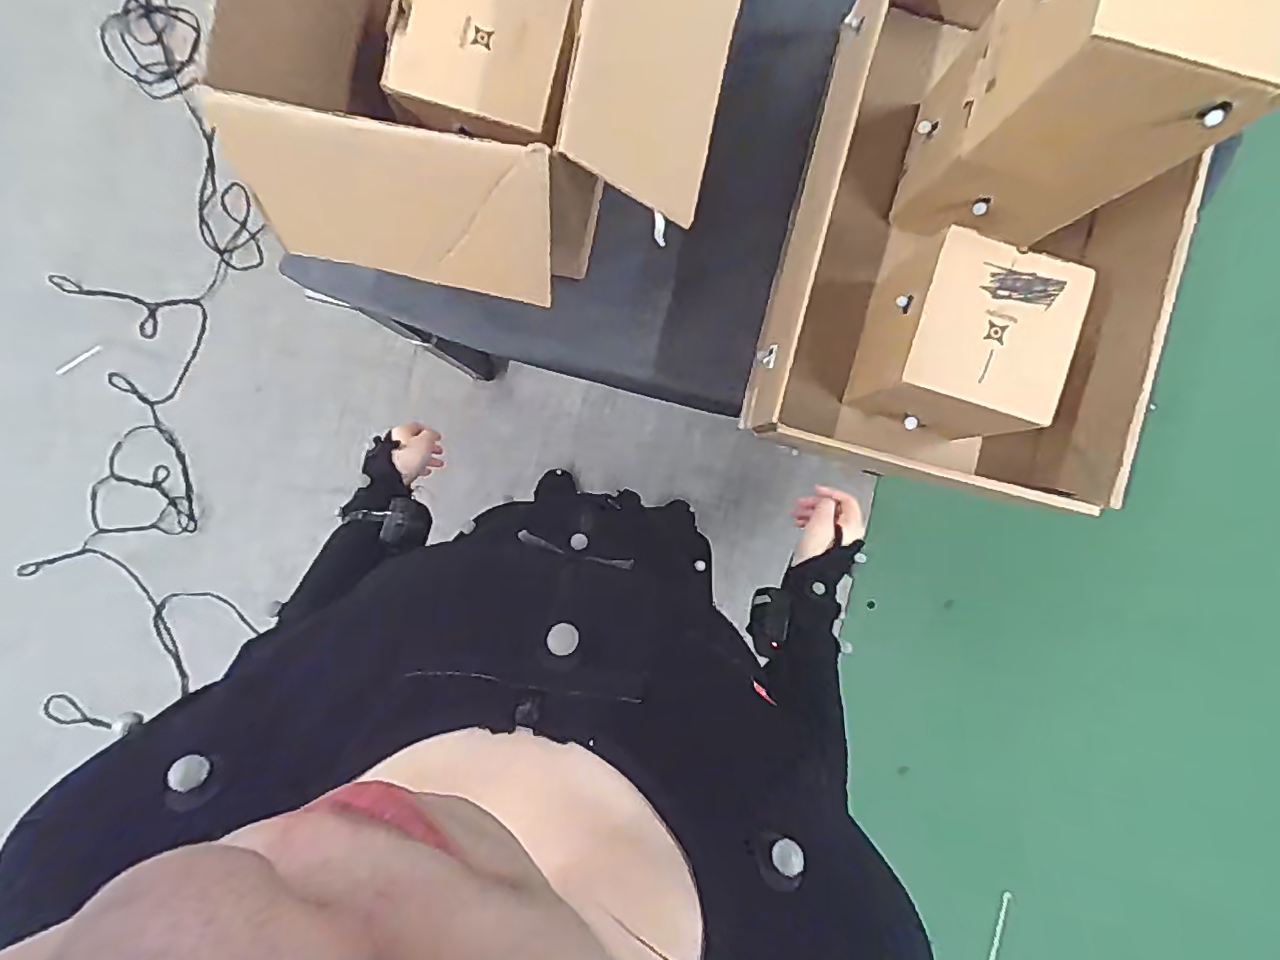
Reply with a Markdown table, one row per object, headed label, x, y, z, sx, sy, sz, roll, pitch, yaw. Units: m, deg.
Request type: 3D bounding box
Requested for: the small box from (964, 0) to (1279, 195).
| label | x | y | z | sx | sy | sz | roll | pitch | yaw |
| --- | --- | --- | --- | --- | --- | --- | --- | --- | --- |
| small box | 0.435 | -0.389 | 0.487 | 0.179 | 0.176 | 0.168 | 13 | 92 | -1 |
